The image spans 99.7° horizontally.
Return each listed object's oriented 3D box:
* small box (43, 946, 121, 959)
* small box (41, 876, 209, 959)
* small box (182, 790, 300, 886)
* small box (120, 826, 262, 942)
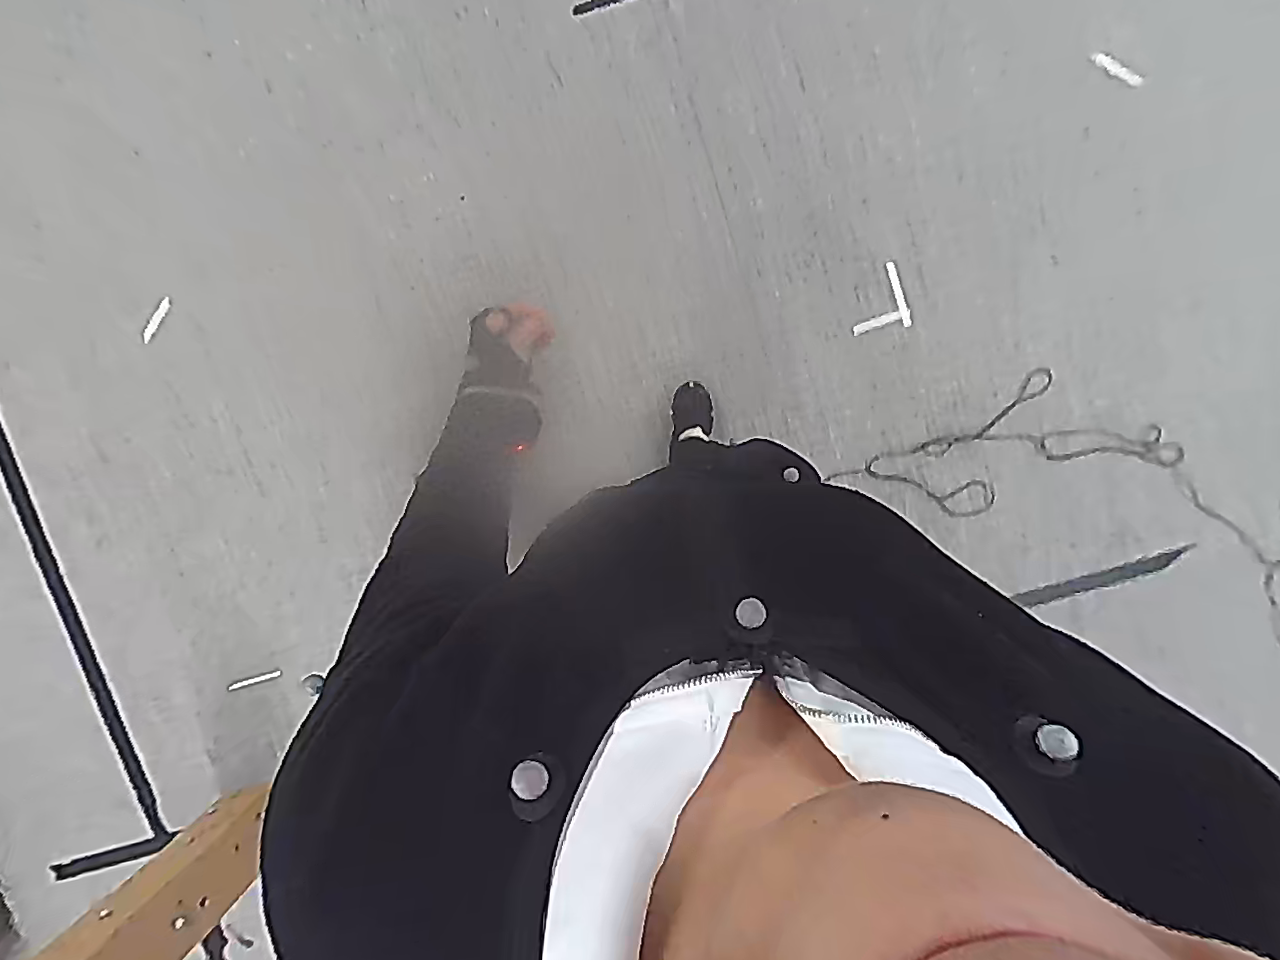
[{"bbox_3d":[-1.084,1.002,0.981,0.179,0.176,0.168,-14,93,2],"label":"small box"},{"bbox_3d":[-1.080,0.995,1.146,0.179,0.176,0.168,-19,93,1],"label":"small box"},{"bbox_3d":[-1.077,0.980,1.474,0.168,0.176,0.179,-17,95,2],"label":"small box"},{"bbox_3d":[-1.077,0.989,1.311,0.179,0.176,0.168,-19,93,2],"label":"small box"}]
